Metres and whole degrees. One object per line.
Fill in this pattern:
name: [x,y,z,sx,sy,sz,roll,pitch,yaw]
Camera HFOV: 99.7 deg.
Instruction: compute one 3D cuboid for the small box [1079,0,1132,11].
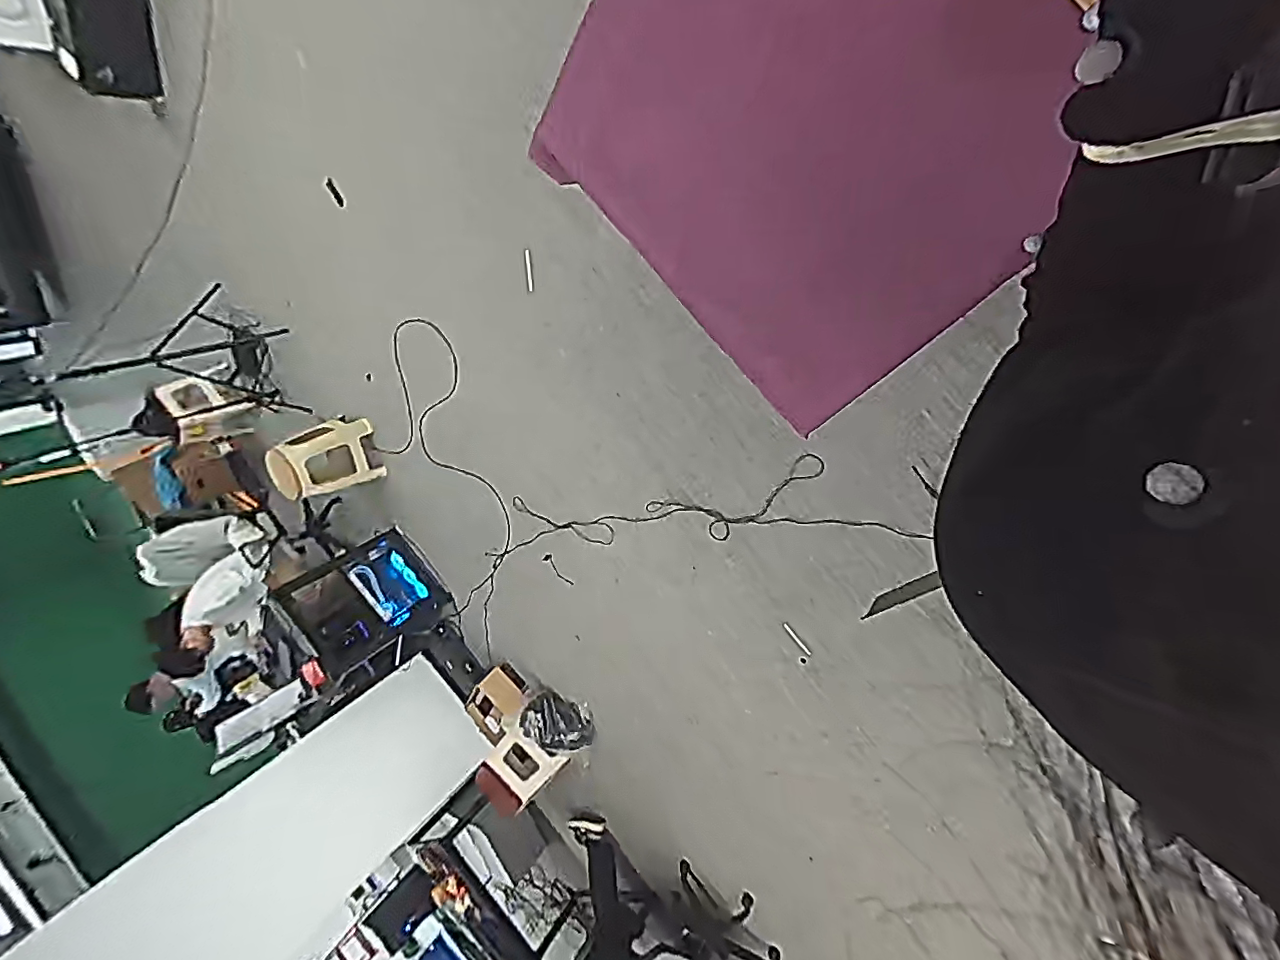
small box: [0.358,-0.477,0.372,0.179,0.176,0.168,52,134,2]
